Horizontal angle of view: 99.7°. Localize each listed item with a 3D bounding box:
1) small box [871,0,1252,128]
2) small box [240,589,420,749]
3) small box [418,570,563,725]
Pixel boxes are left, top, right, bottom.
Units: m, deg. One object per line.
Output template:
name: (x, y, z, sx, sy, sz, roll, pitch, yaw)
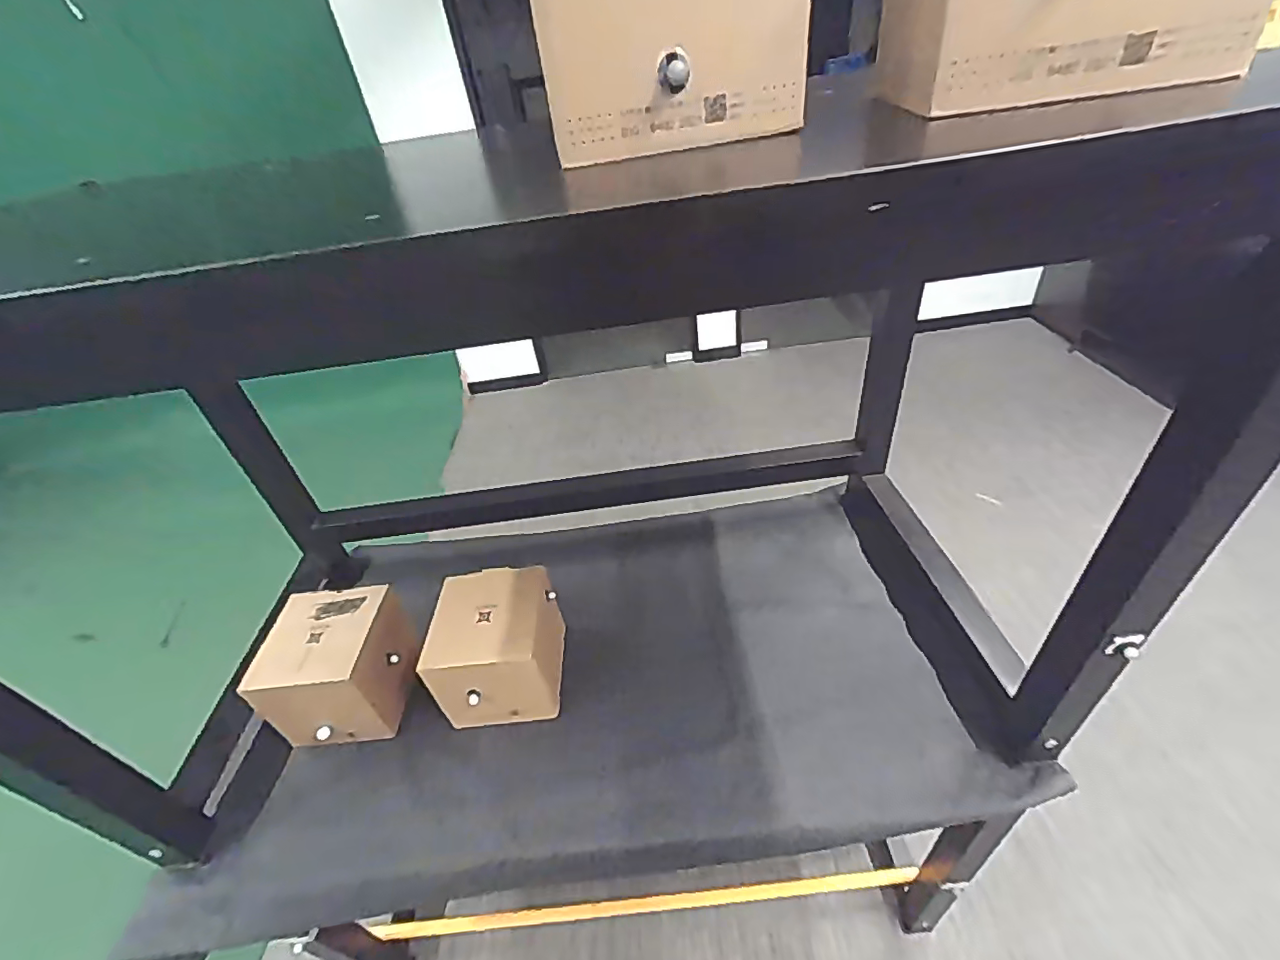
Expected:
small box: (0.254, -0.332, 0.338, 0.168, 0.176, 0.179, -1, 38, 10)
small box: (-0.474, 0.301, 0.866, 0.168, 0.176, 0.179, -7, 38, 2)
small box: (-0.223, 0.270, 0.860, 0.168, 0.176, 0.179, -7, 37, 2)
